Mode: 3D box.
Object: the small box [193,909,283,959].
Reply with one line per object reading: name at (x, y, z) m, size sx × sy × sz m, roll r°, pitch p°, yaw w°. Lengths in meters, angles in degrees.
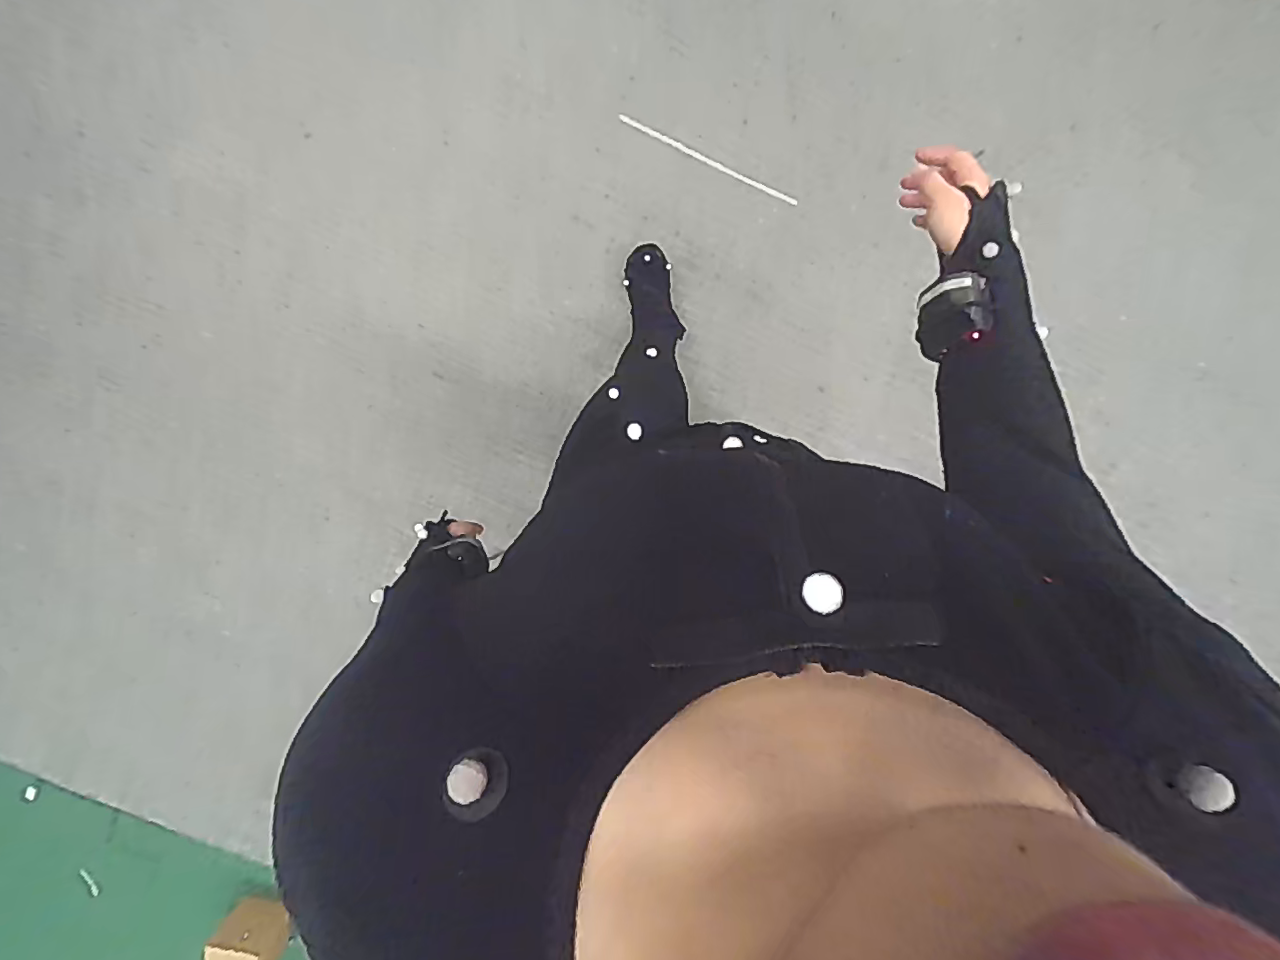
small box at (-1.281, 1.524, 1.730) m, size 0.179 × 0.176 × 0.168 m, roll 9°, pitch 101°, yaw 0°
